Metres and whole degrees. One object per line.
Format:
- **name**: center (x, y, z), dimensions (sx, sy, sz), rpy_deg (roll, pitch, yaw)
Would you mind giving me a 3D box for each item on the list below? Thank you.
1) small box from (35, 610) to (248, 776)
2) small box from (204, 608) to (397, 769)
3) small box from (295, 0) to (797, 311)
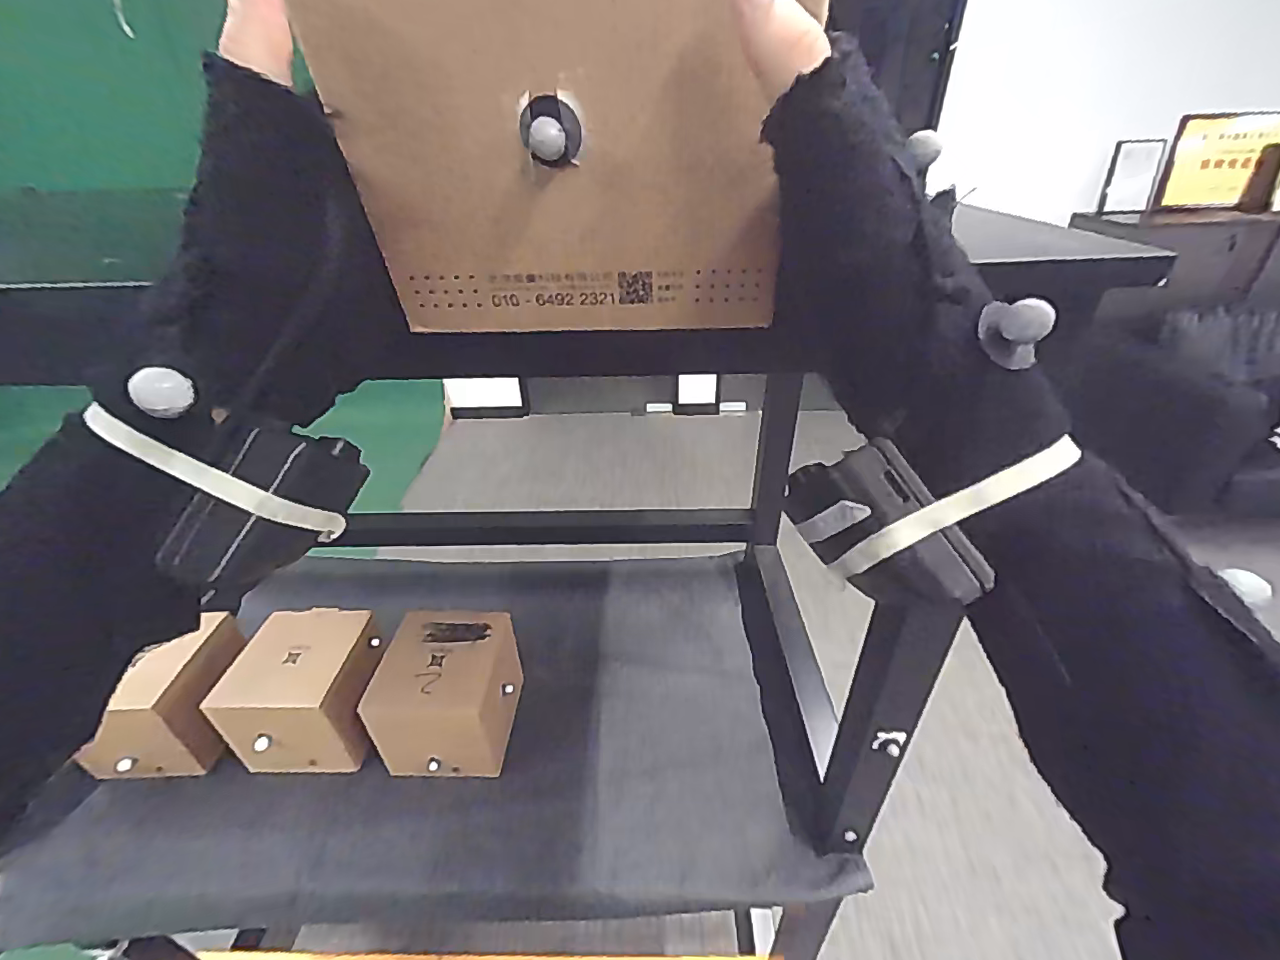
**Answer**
- **small box**: center (-0.728, 0.324, 0.833), dimensions (0.168, 0.176, 0.179), rpy_deg (-2, 33, -1)
- **small box**: center (-0.501, 0.321, 0.834), dimensions (0.168, 0.176, 0.179), rpy_deg (0, 32, 1)
- **small box**: center (-0.026, -0.191, 0.245), dimensions (0.168, 0.176, 0.179), rpy_deg (0, 47, 2)
